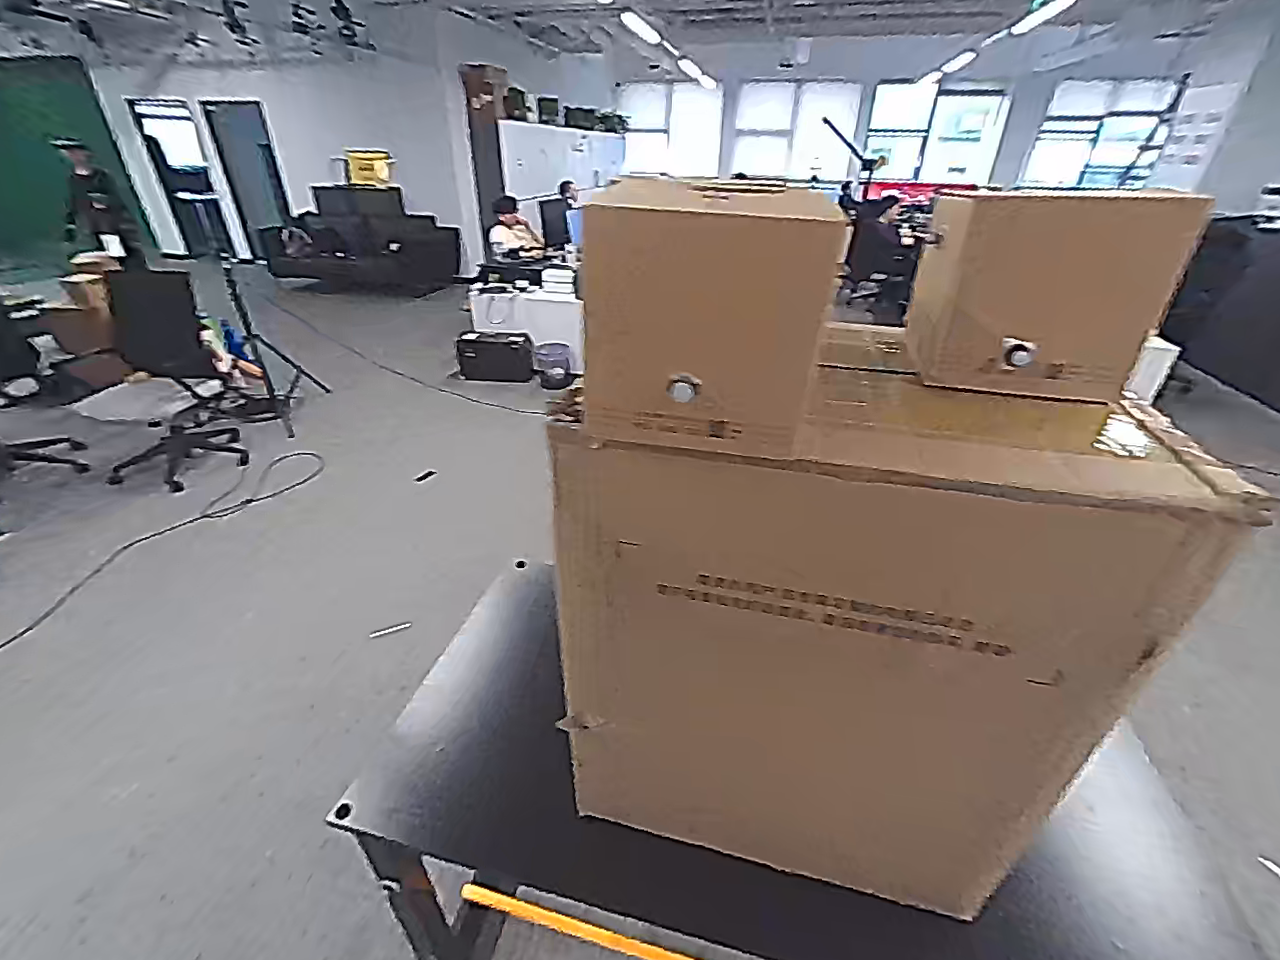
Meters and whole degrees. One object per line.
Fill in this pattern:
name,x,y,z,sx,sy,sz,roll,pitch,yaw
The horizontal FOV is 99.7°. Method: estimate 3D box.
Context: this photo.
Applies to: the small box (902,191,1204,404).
small box,0.373,-0.189,0.537,0.168,0.176,0.179,7,31,14
